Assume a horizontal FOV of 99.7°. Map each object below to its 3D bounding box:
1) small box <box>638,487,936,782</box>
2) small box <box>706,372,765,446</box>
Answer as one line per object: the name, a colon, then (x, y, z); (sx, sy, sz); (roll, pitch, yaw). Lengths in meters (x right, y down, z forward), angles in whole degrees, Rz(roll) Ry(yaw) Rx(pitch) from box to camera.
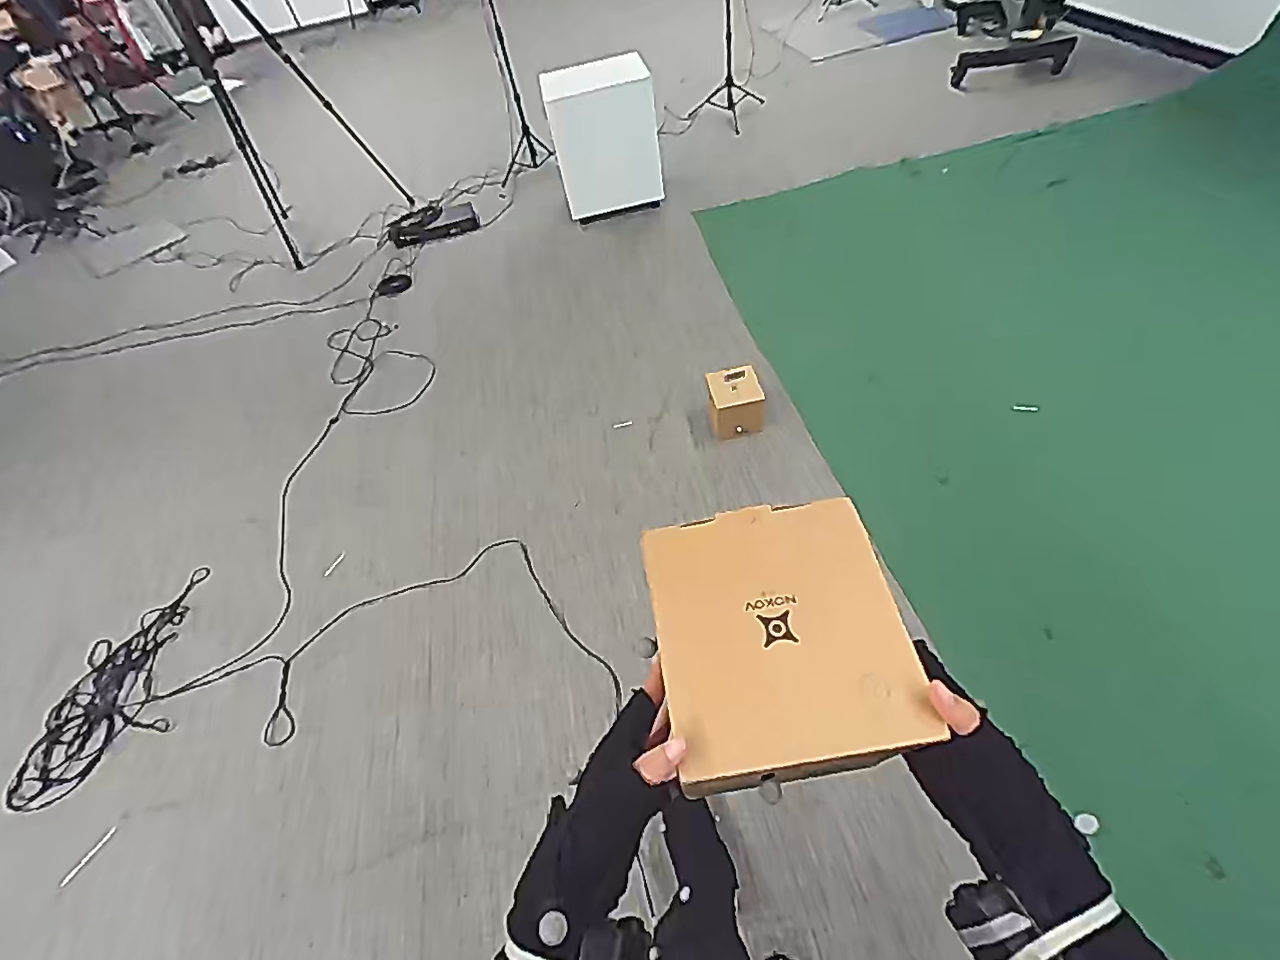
small box: (0.099, 0.134, 0.439); (0.168, 0.176, 0.179); (-10, 54, 0)
small box: (0.330, -0.248, 1.898); (0.168, 0.176, 0.179); (-12, 52, 1)
